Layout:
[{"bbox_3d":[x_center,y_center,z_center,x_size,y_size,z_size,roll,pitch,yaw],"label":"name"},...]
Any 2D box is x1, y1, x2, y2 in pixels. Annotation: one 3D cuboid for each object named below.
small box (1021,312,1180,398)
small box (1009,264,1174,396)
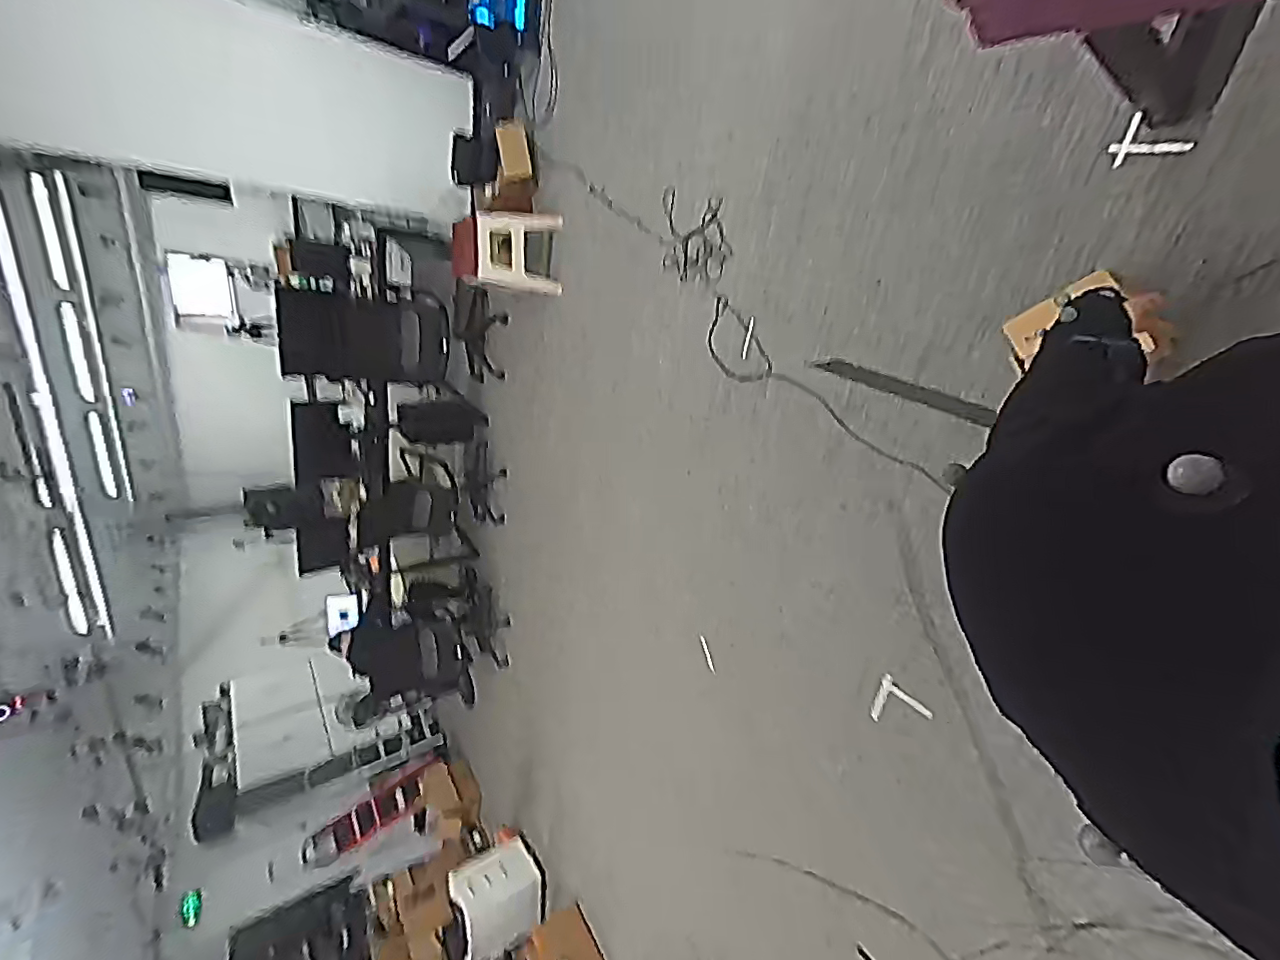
[{"bbox_3d":[0.956,-0.289,1.123,0.168,0.176,0.179,56,136,29],"label":"small box"},{"bbox_3d":[0.841,-0.270,1.004,0.179,0.176,0.168,-35,69,50],"label":"small box"}]
